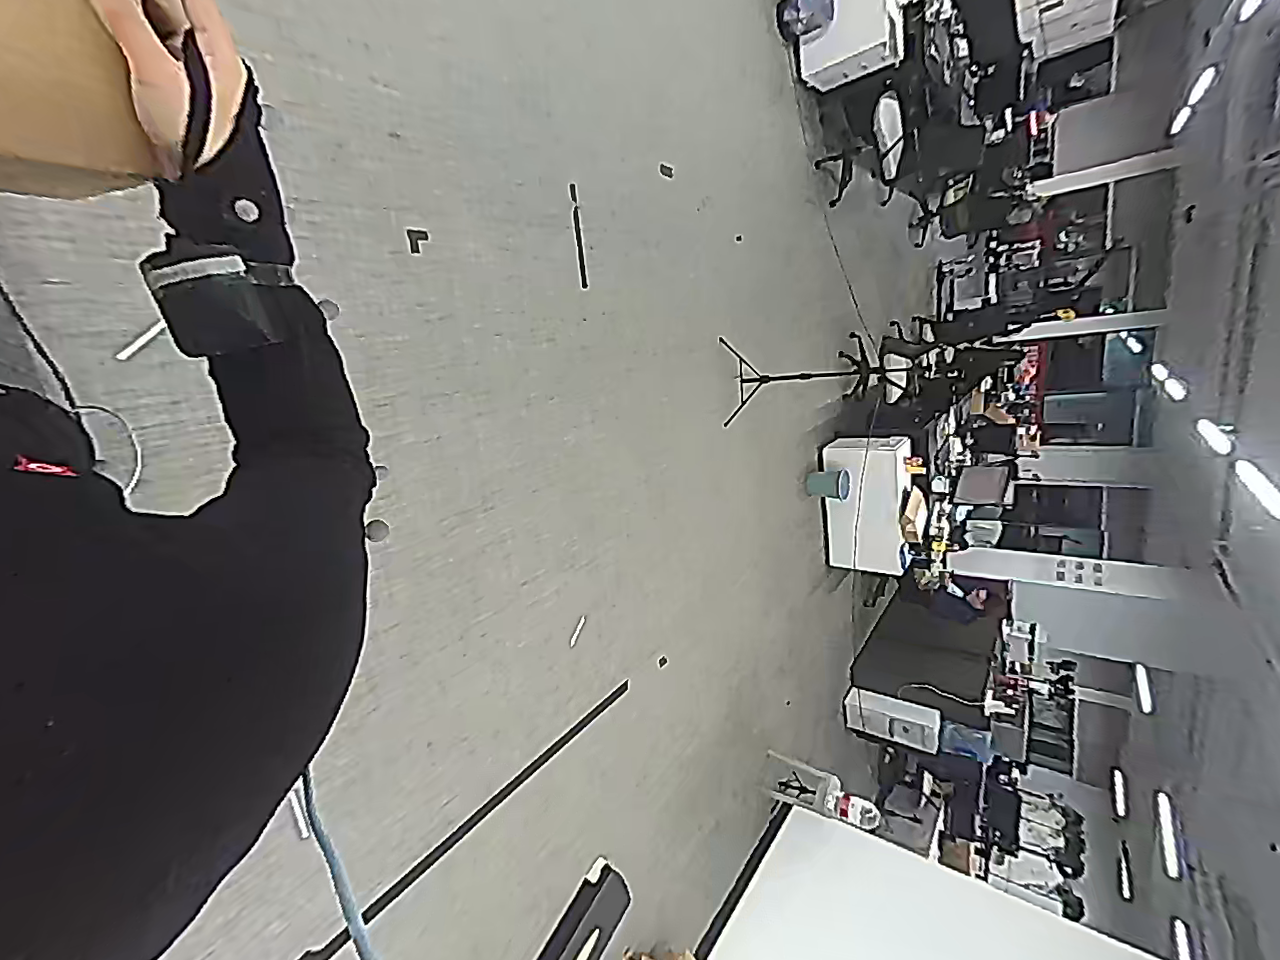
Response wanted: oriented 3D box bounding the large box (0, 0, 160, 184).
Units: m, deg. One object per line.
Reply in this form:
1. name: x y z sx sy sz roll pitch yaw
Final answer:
1. large box: -0.524 -0.336 0.221 0.408 0.320 0.320 -18 121 -50
